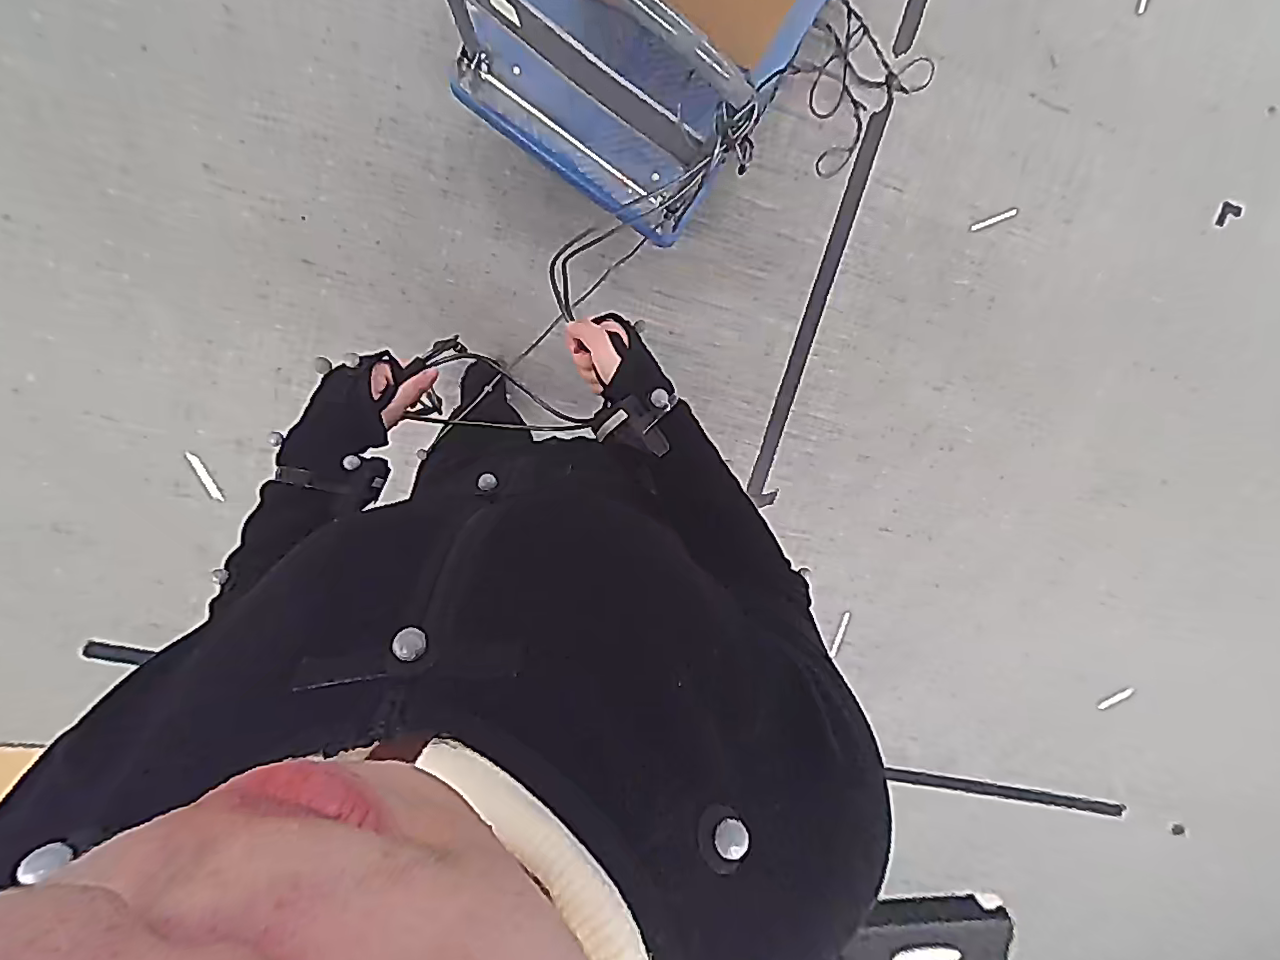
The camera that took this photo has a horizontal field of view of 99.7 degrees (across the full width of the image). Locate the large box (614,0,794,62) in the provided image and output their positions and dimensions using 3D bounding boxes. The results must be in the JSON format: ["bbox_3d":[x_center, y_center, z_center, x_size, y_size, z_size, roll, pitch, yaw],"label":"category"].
[{"bbox_3d":[0.125,-1.065,0.966,0.408,0.320,0.320,16,100,-11],"label":"large box"}]
